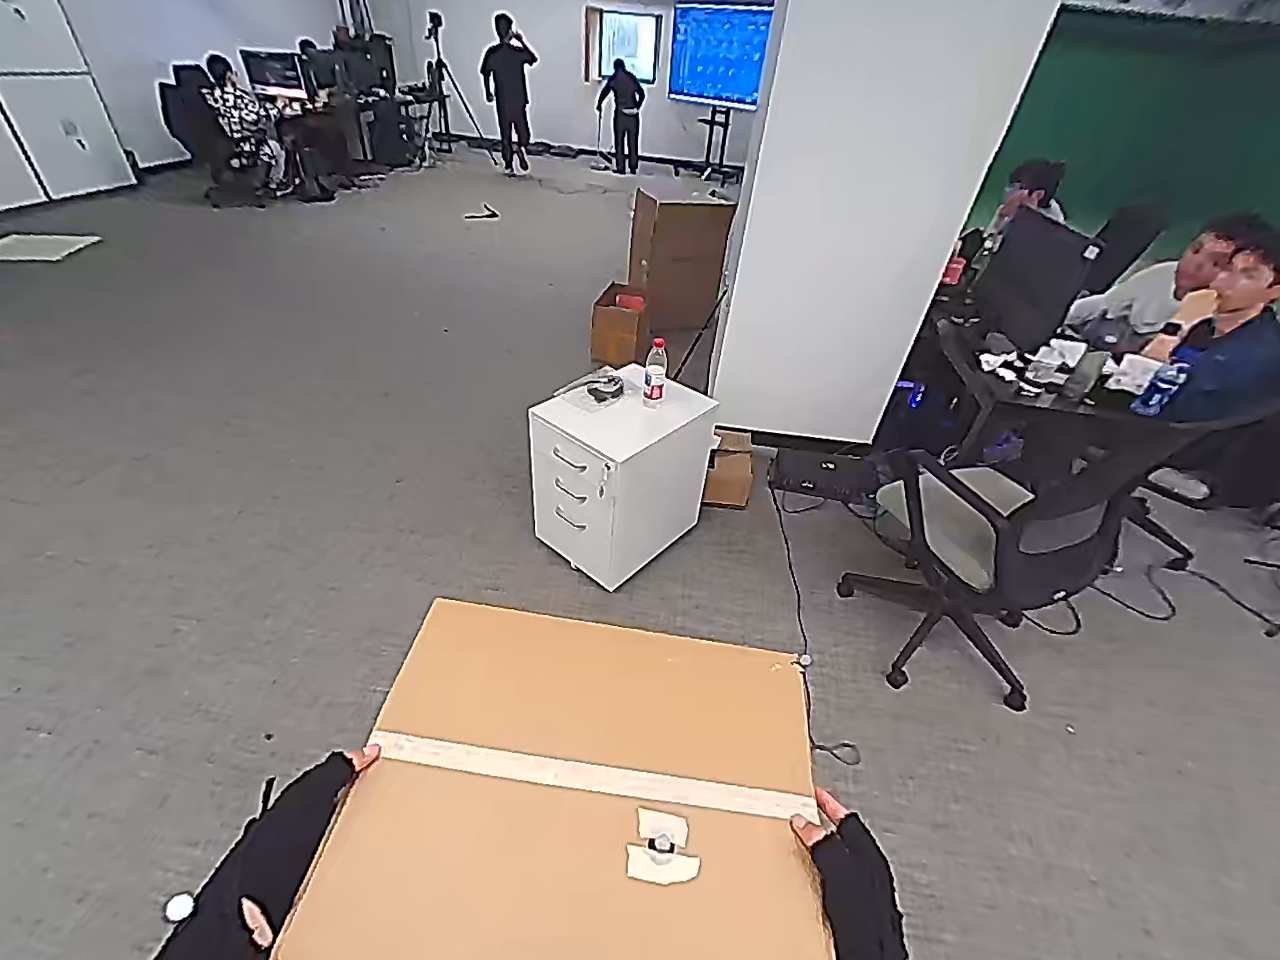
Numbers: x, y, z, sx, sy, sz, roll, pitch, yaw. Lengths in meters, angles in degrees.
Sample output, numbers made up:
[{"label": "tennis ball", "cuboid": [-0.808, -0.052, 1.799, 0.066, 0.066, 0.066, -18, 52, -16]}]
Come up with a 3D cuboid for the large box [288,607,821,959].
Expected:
[{"label": "large box", "cuboid": [-0.062, 0.380, 0.596, 0.408, 0.320, 0.320, 9, 44, 0]}]
